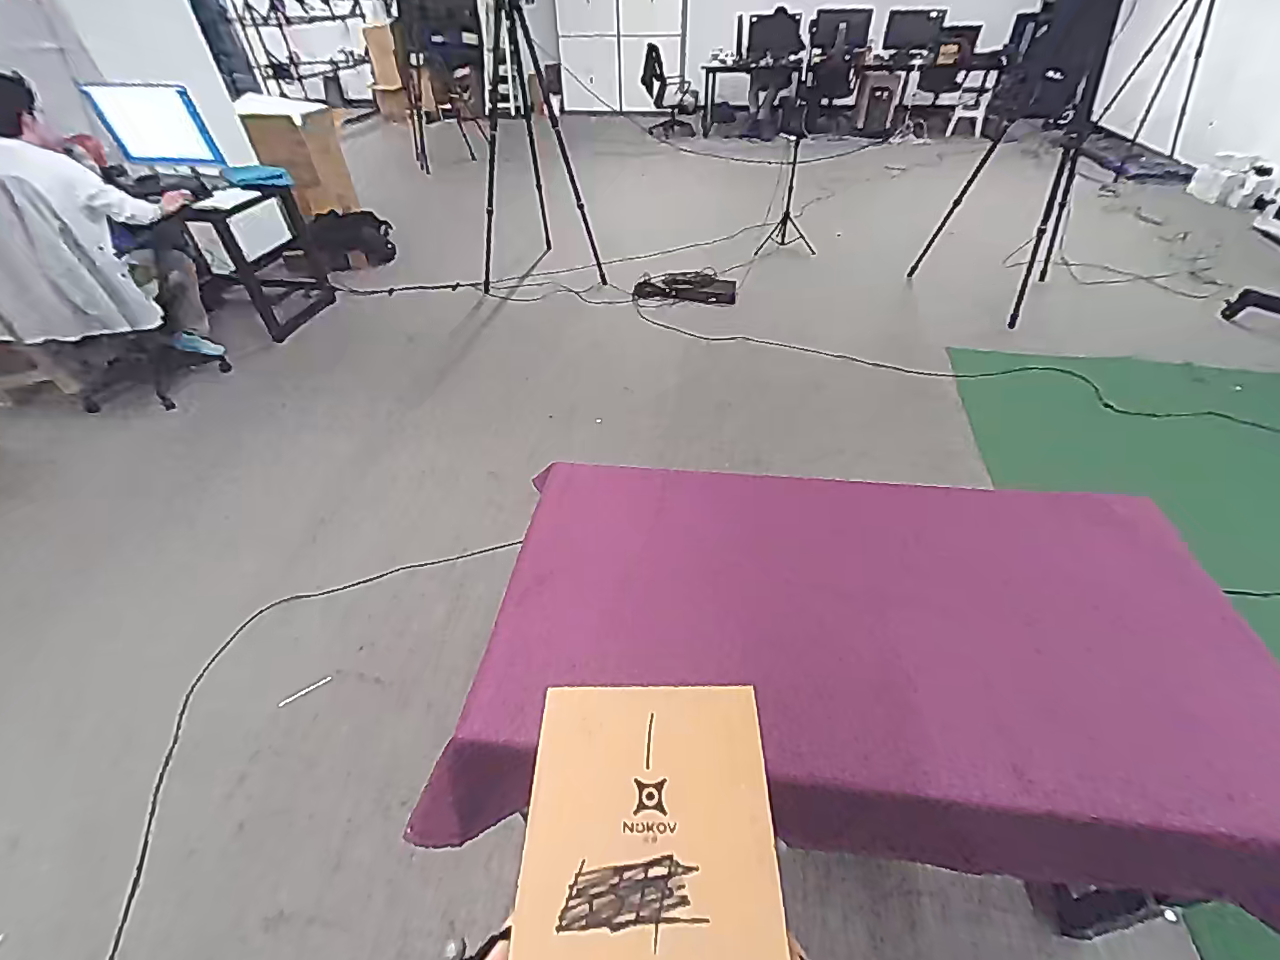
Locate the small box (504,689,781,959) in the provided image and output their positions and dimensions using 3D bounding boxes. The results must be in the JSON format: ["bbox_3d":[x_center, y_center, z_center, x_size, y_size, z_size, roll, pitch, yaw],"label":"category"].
[{"bbox_3d":[0.009,0.284,0.423,0.168,0.176,0.179,-1,43,3],"label":"small box"}]
